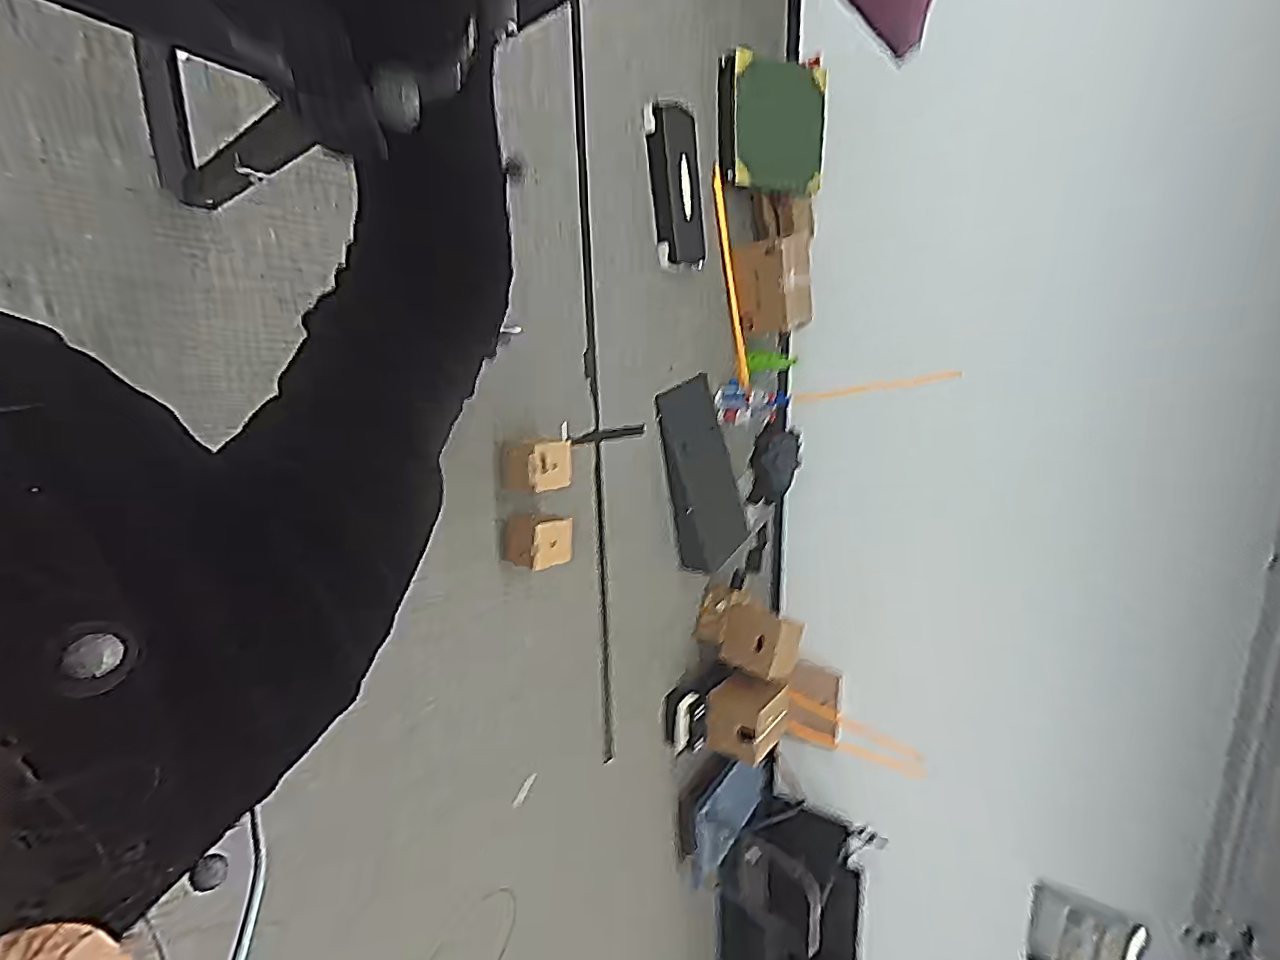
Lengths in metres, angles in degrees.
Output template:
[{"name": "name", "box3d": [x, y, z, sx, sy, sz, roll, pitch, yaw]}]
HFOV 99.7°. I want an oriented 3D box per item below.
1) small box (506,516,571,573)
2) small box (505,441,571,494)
[{"name": "small box", "box3d": [-0.373, 0.230, 1.978, 0.179, 0.176, 0.168, -7, 102, -54]}, {"name": "small box", "box3d": [-0.369, -0.049, 1.931, 0.179, 0.176, 0.168, -12, 106, -53]}]
